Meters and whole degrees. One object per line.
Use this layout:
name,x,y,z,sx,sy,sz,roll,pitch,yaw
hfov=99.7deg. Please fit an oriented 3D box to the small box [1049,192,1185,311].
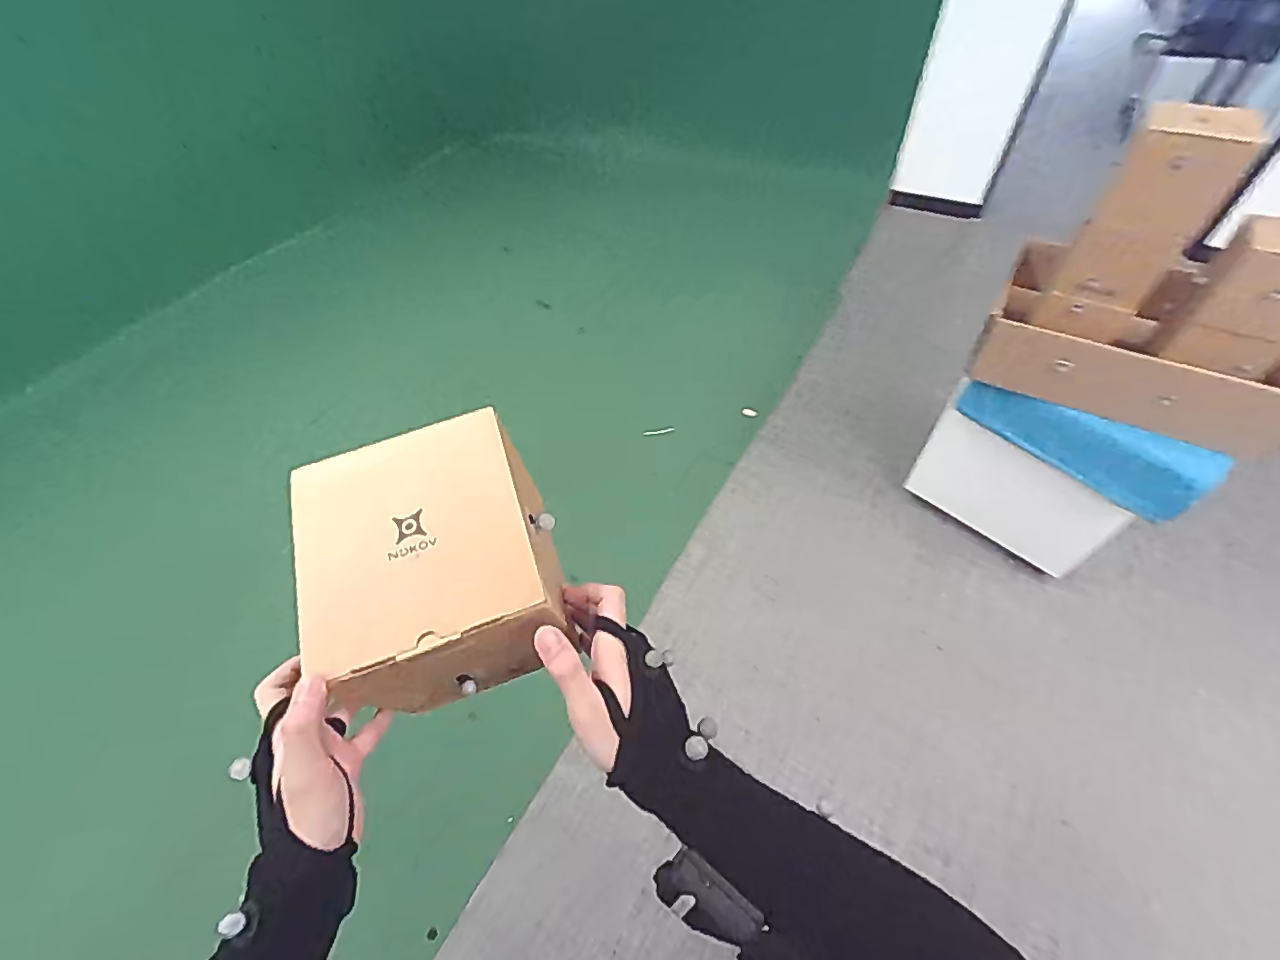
small box,1.044,-0.505,1.192,0.168,0.176,0.179,24,57,21

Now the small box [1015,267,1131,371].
small box,1.049,-0.399,1.316,0.168,0.176,0.179,24,56,21

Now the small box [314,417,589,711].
small box,-0.151,0.080,0.468,0.168,0.176,0.179,-18,63,-6

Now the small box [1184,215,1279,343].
small box,1.265,-0.402,1.090,0.179,0.176,0.168,23,56,22

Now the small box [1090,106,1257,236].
small box,1.033,-0.604,1.061,0.179,0.176,0.168,25,57,22
